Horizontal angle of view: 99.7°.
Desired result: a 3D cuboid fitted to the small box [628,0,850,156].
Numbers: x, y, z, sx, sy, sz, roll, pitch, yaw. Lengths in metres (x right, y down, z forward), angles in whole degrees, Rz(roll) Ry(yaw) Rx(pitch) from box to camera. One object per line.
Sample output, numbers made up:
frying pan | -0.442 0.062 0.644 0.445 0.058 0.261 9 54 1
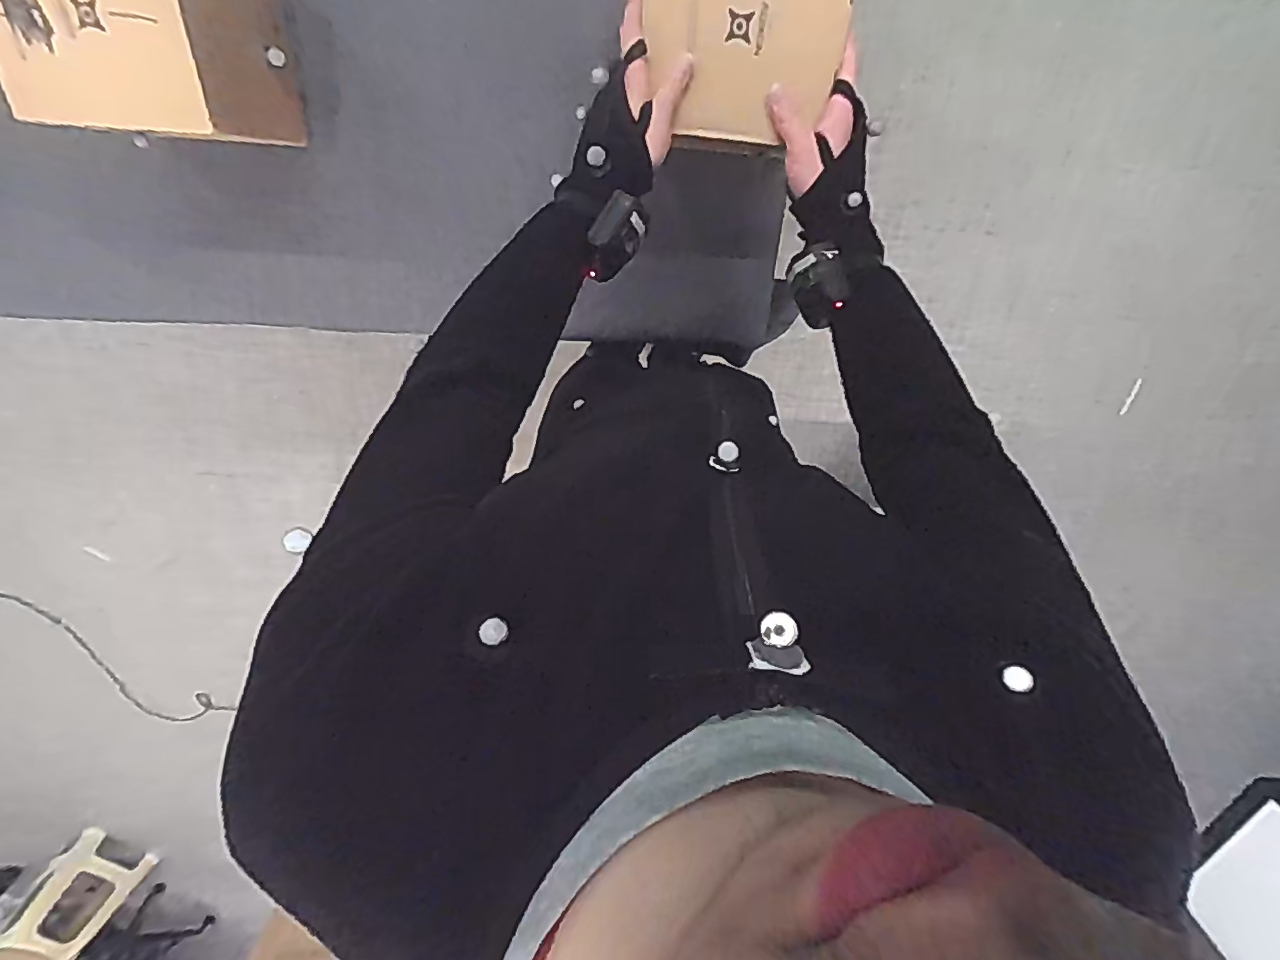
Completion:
small box | 0.084 -0.414 0.518 0.179 0.176 0.168 5 118 -1

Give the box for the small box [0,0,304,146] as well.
small box | -0.468 -0.424 0.516 0.179 0.176 0.168 3 119 -2
